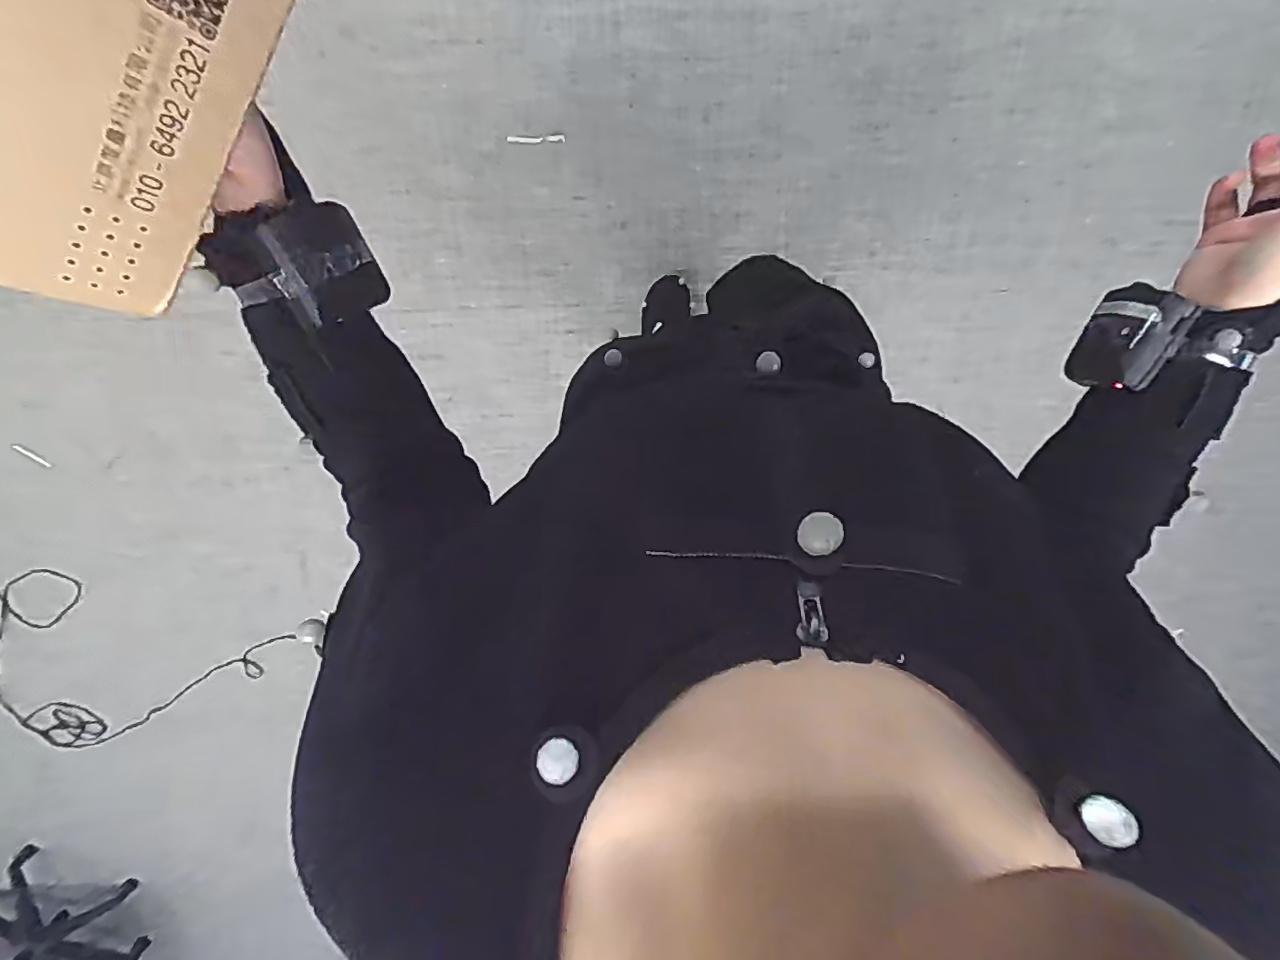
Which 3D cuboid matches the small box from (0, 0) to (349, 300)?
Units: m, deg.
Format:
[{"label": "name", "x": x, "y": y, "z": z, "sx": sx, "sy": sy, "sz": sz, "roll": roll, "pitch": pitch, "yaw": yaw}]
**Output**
[{"label": "small box", "x": -0.203, "y": -0.177, "z": 0.139, "sx": 0.168, "sy": 0.176, "sz": 0.179, "roll": -47, "pitch": 65, "yaw": 23}]
